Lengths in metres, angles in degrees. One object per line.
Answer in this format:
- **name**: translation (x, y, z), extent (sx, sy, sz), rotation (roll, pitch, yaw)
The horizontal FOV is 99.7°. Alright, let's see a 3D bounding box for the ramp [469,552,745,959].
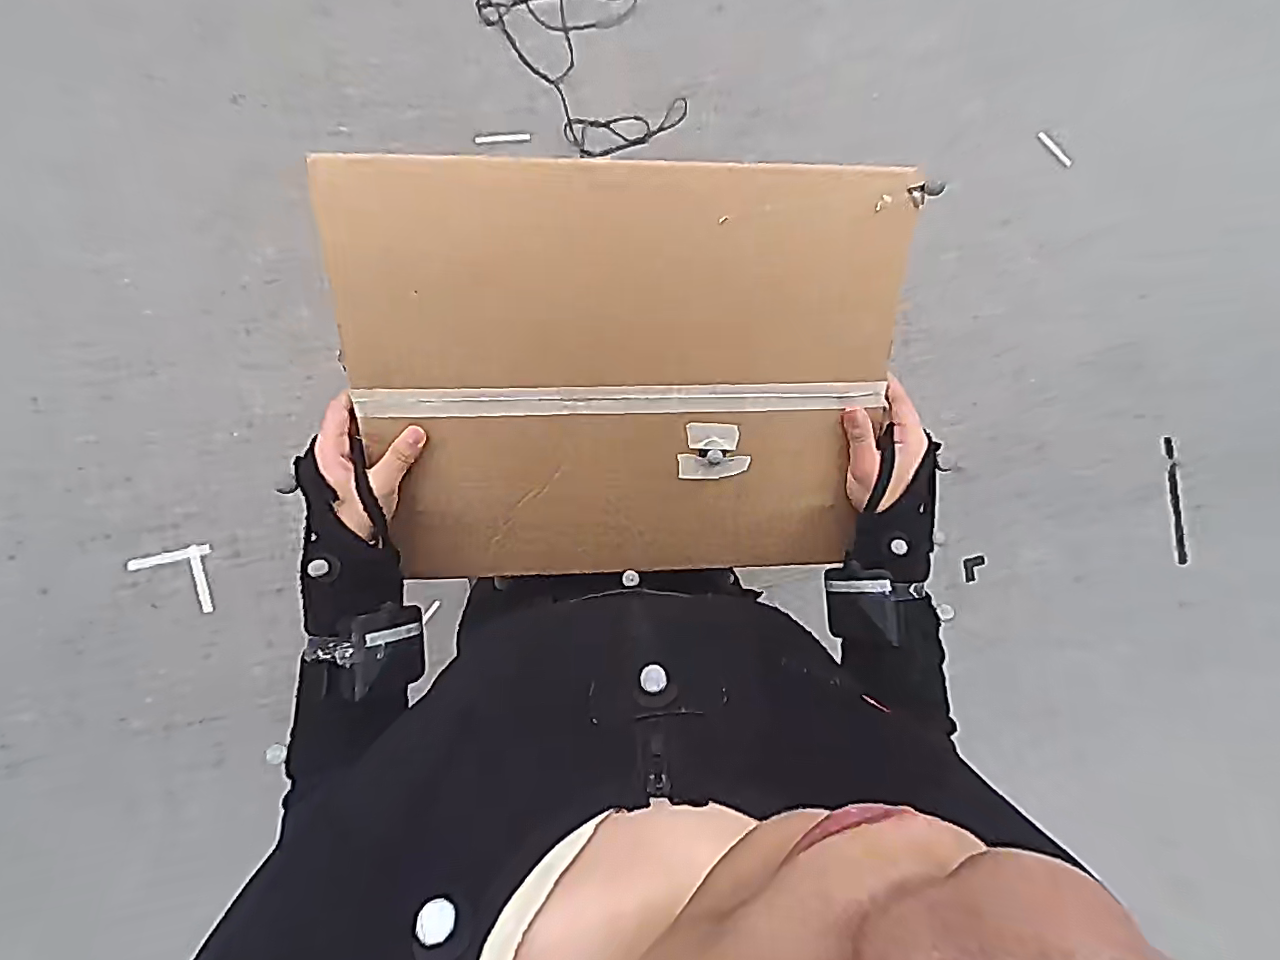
- **ramp**: translation (-0.094, 0.663, 1.319), extent (0.509, 0.206, 0.991), rotation (-13, 91, -8)

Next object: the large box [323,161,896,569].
- **large box**: translation (-0.027, -0.131, 0.563), extent (0.408, 0.320, 0.320), rotation (-3, 114, -5)
